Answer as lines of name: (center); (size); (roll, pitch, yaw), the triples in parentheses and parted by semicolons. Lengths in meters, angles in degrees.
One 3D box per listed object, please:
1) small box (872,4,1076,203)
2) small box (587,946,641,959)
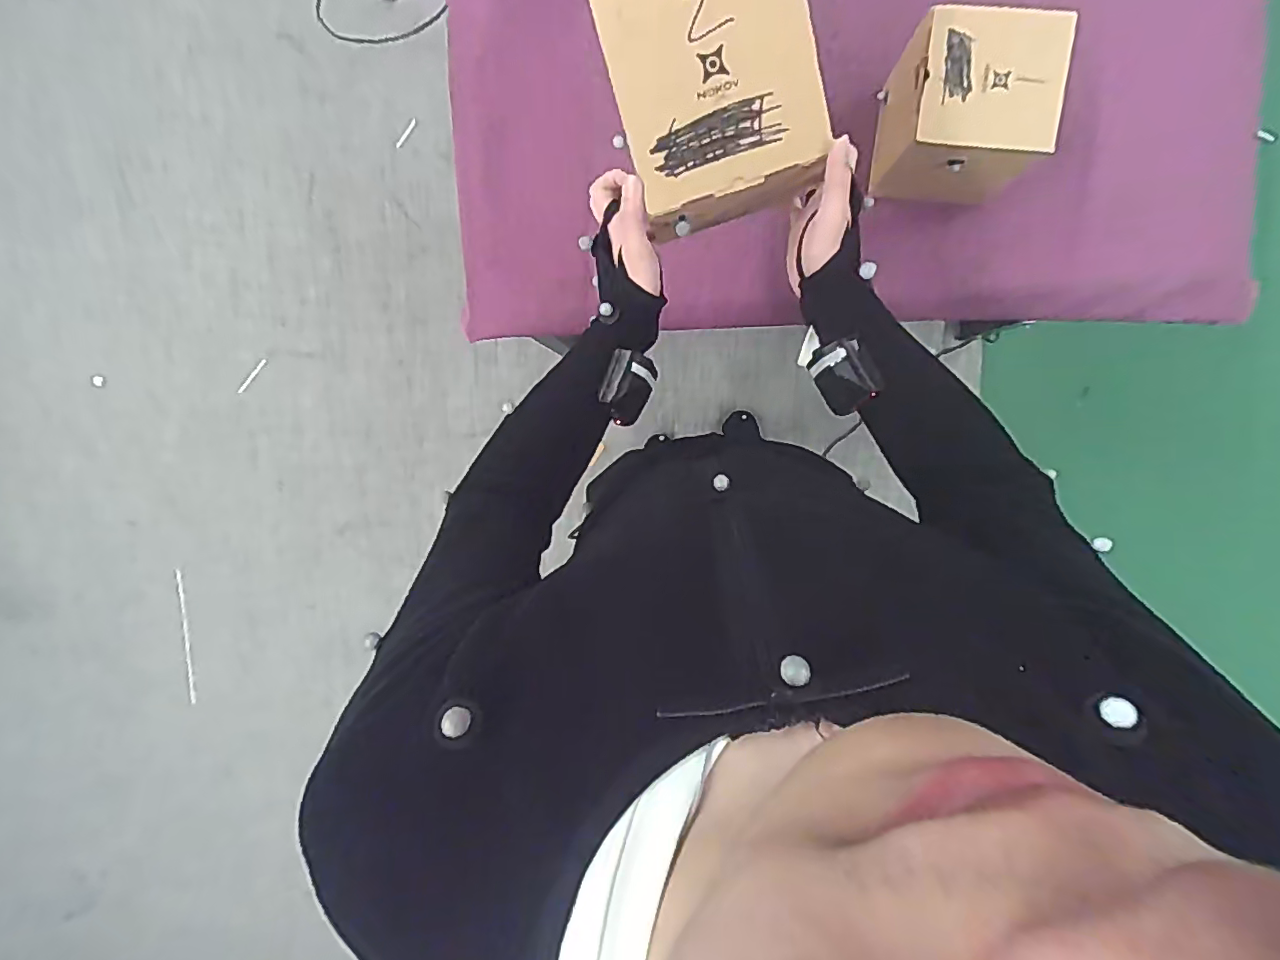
small box: (0.445, -0.508, 0.754); (0.179, 0.176, 0.168); (6, 96, 2)
small box: (-0.096, 1.650, 1.735); (0.179, 0.176, 0.168); (4, 97, 3)
